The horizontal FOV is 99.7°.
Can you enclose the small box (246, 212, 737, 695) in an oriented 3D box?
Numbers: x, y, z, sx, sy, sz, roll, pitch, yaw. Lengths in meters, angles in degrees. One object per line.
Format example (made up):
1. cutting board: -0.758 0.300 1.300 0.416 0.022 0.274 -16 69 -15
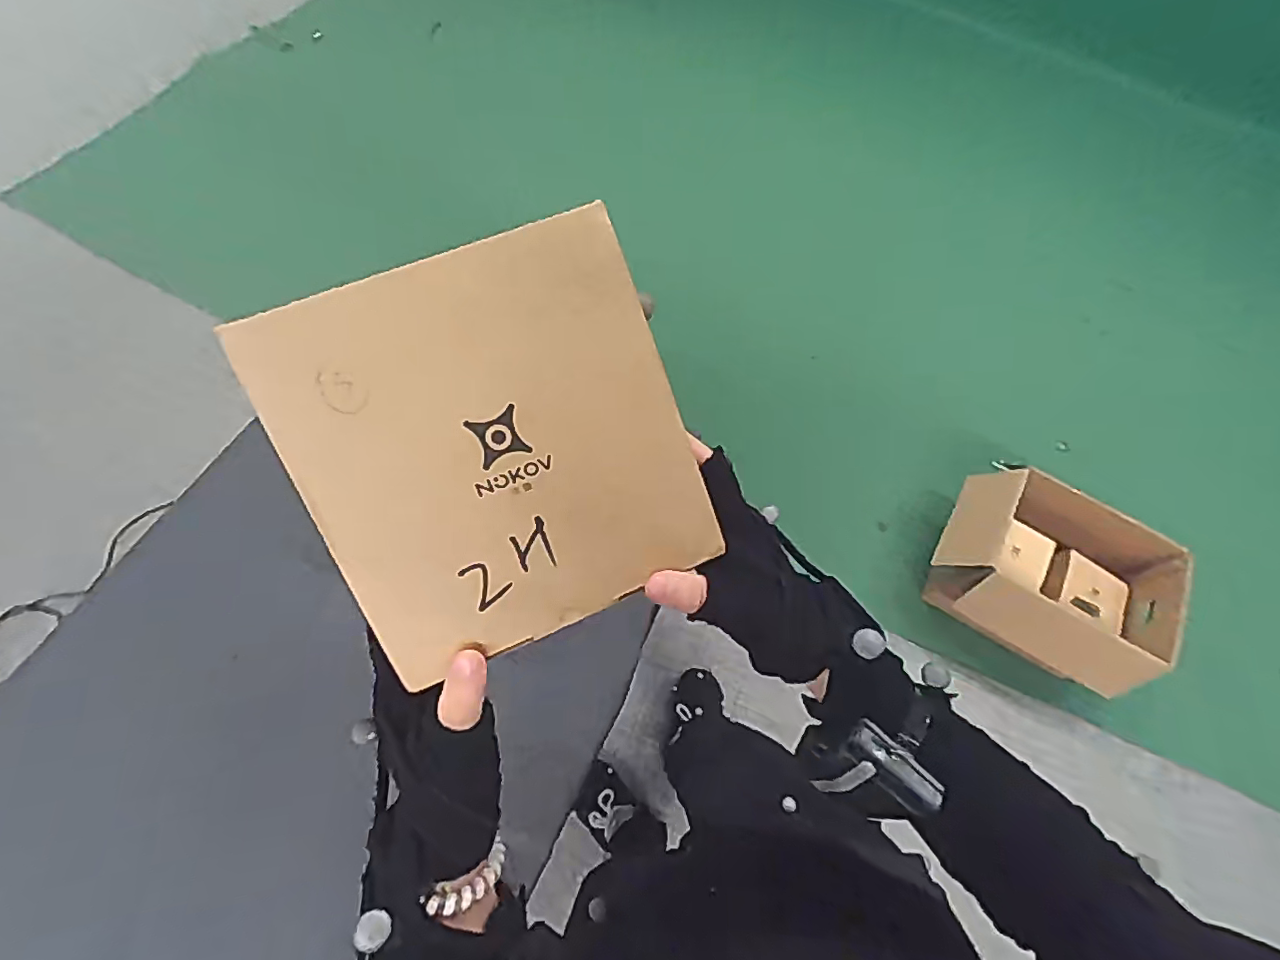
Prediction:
1. small box: -0.071 -0.020 0.317 0.168 0.176 0.179 -22 102 -8
